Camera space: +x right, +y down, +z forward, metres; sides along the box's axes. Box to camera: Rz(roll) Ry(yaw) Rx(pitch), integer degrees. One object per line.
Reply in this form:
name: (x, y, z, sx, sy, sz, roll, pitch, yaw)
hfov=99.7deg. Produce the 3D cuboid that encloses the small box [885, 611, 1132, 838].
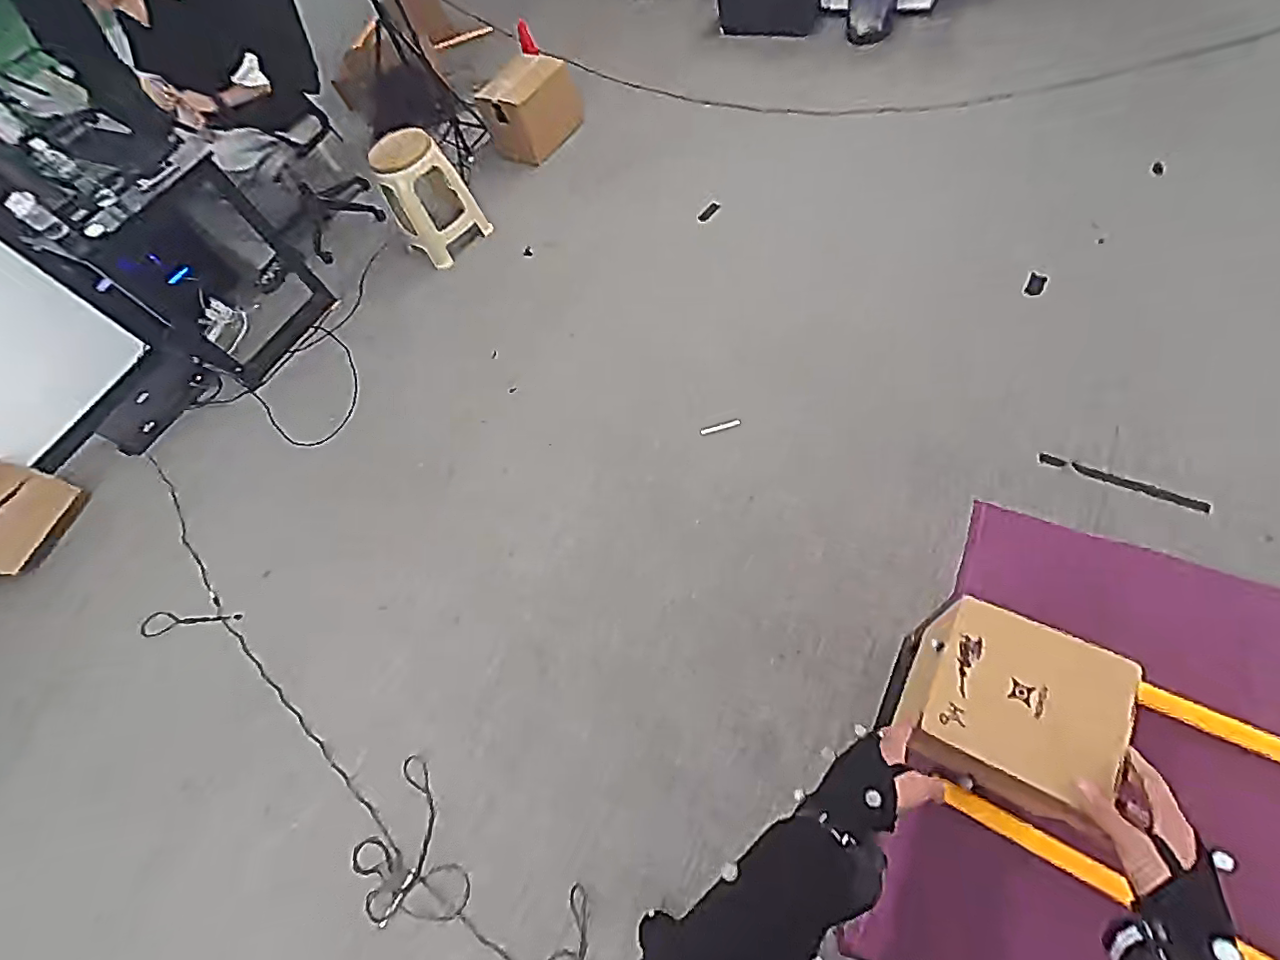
small box: (0.421, 0.284, 0.647, 0.179, 0.176, 0.168, 24, 70, 22)
